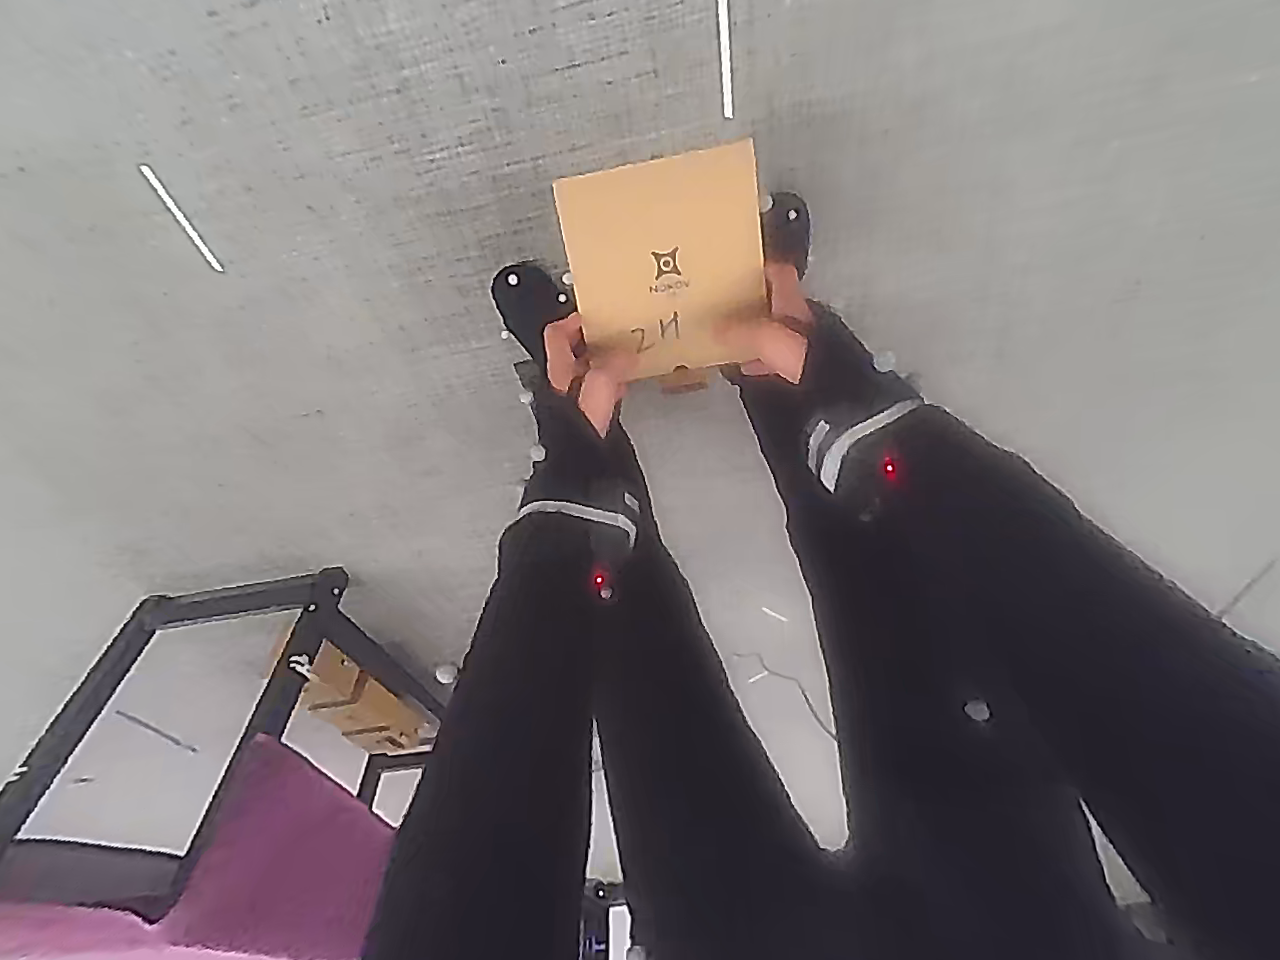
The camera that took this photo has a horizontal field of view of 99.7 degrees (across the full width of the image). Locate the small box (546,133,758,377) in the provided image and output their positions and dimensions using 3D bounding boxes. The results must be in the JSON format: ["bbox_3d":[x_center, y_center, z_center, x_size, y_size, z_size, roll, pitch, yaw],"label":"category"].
[{"bbox_3d":[0.017,-0.216,0.534,0.168,0.176,0.179,-7,115,6],"label":"small box"}]
